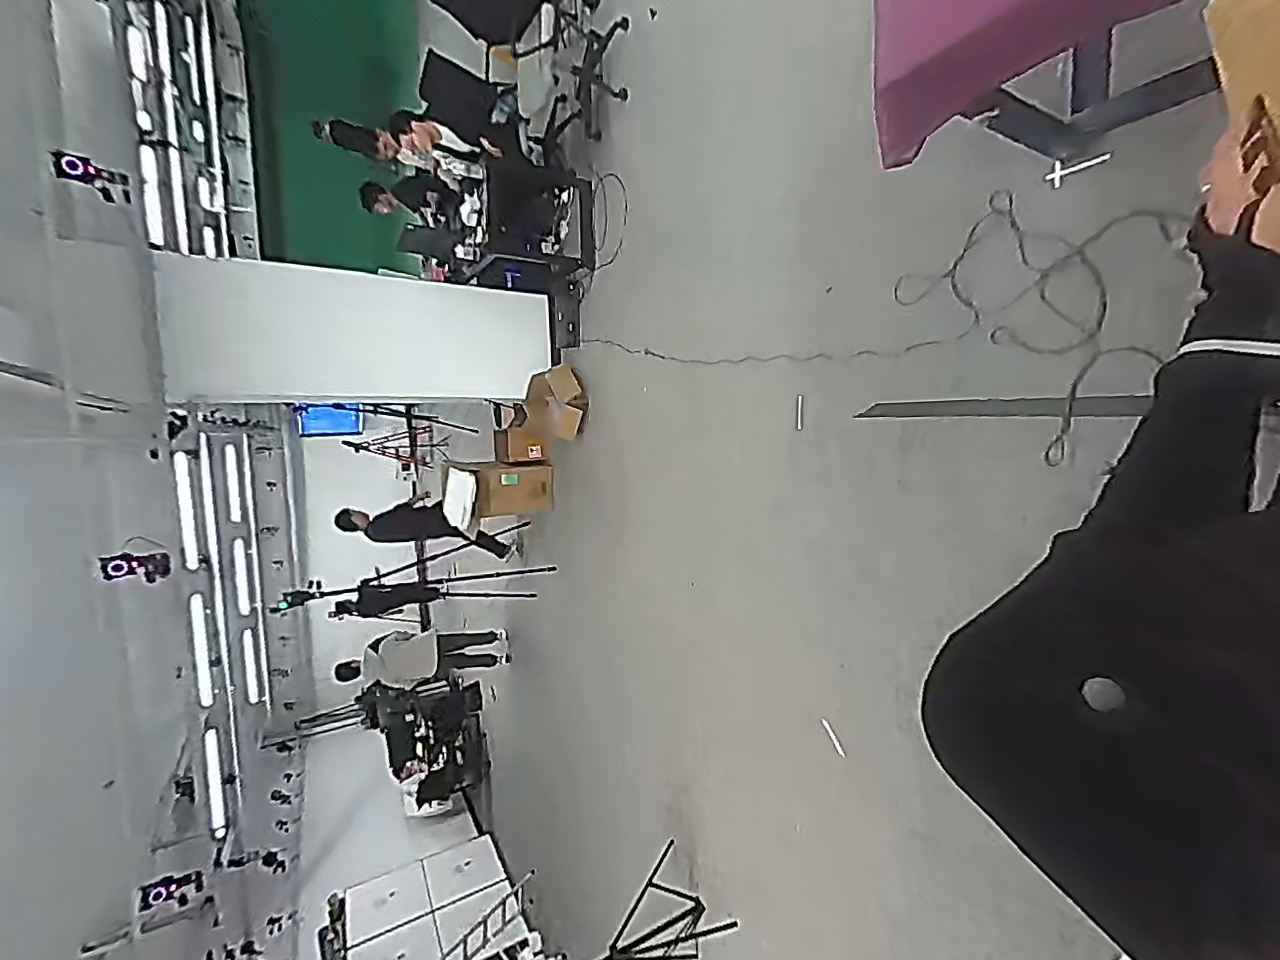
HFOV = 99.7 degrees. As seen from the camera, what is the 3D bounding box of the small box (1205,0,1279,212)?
[{"bbox_3d":[0.575,-0.347,0.410,0.168,0.176,0.179,-18,114,46],"label":"small box"}]
